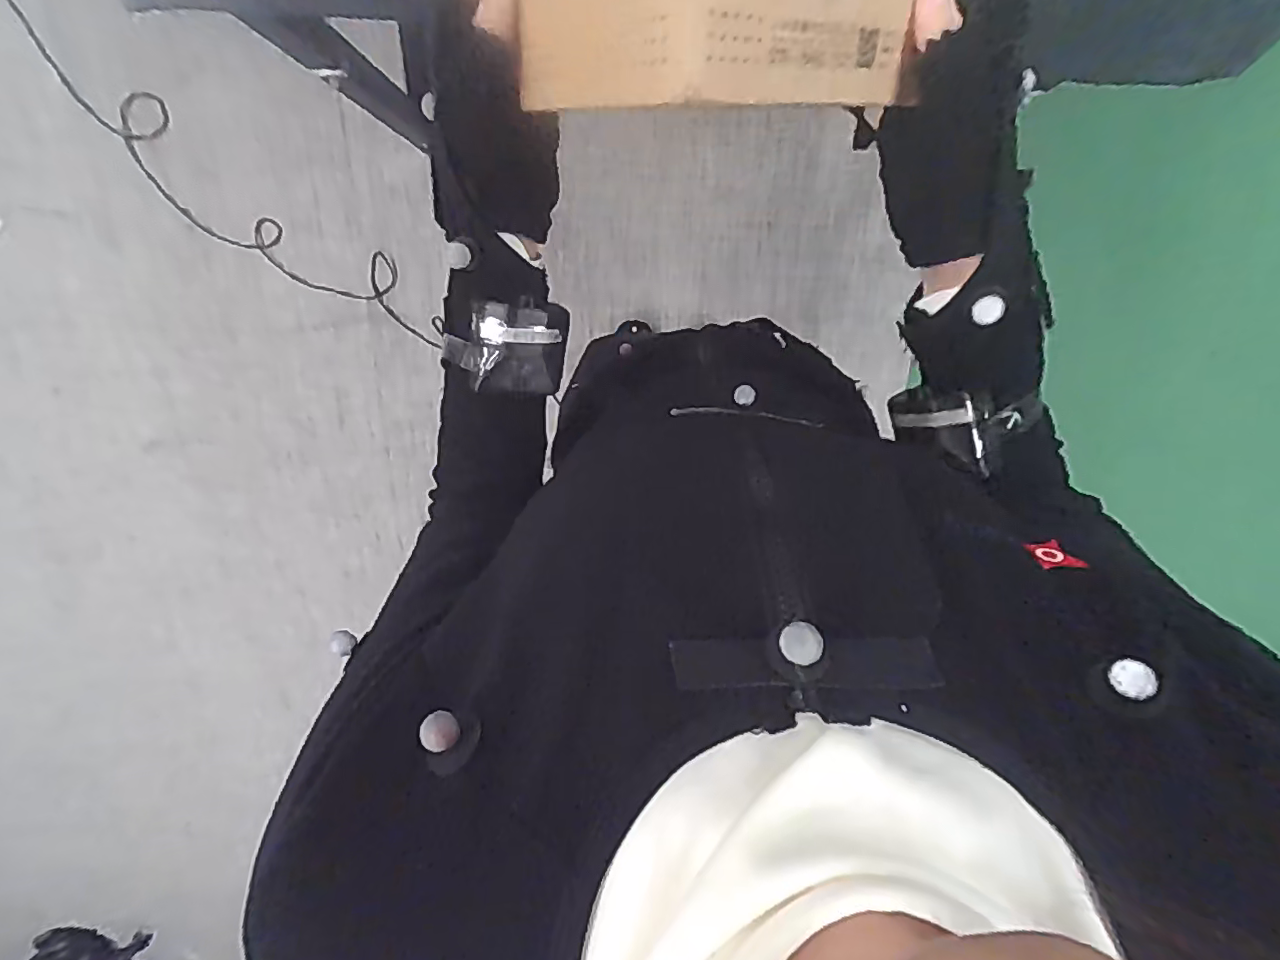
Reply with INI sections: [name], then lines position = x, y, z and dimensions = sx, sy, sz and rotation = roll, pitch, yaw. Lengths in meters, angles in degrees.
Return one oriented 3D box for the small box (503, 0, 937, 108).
[small box]
position = 0.034, -0.285, 0.262
dimensions = 0.168, 0.179, 0.176
rotation = -24, 130, -29
